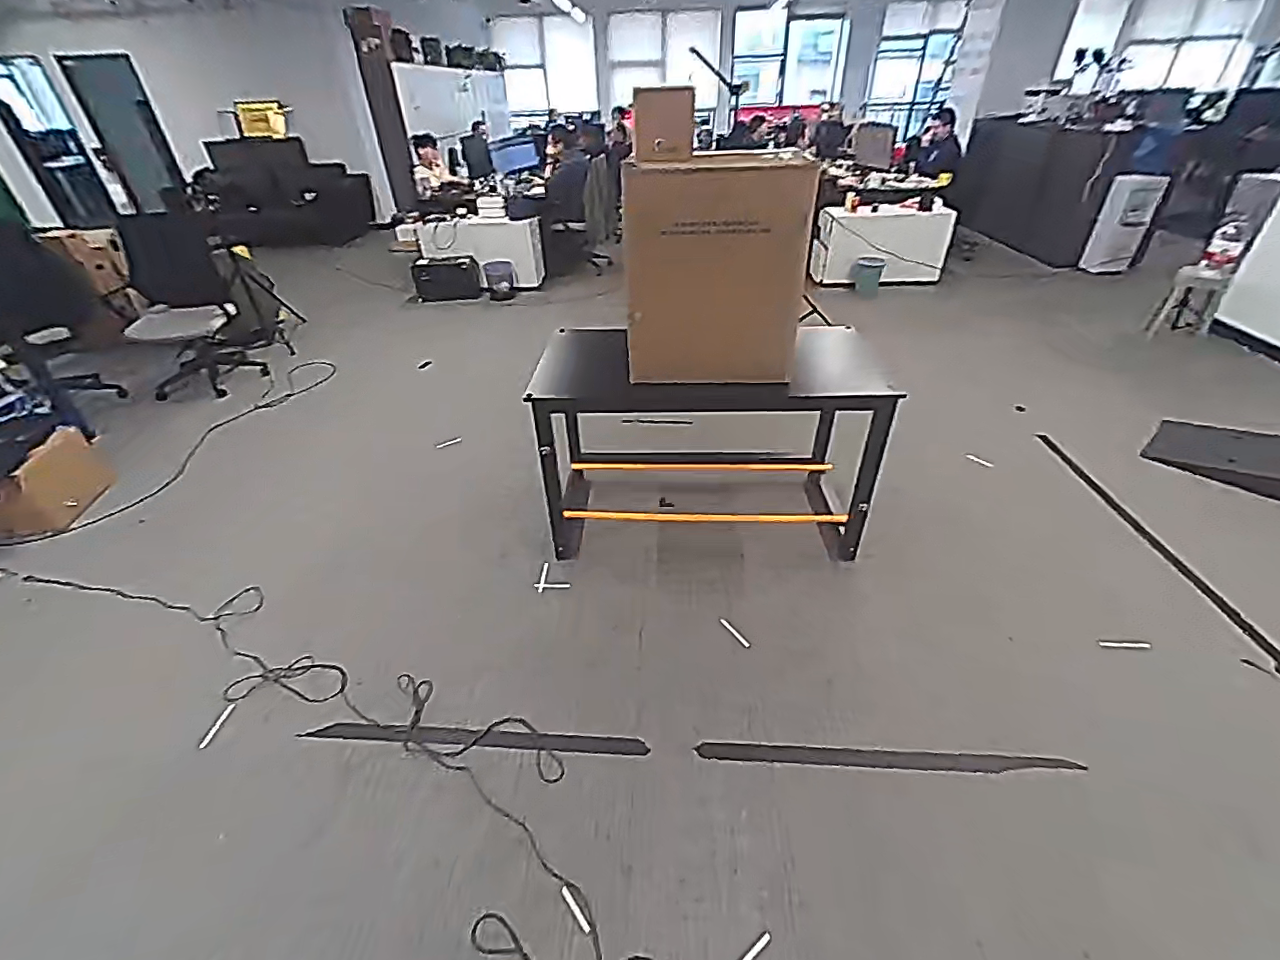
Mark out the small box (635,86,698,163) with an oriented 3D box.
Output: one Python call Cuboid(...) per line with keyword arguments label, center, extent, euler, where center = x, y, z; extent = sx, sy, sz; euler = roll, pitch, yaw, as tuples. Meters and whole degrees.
Cuboid(label="small box", center=(0.069, -0.998, 1.518), extent=(0.168, 0.176, 0.179), euler=(-3, 38, -1))
